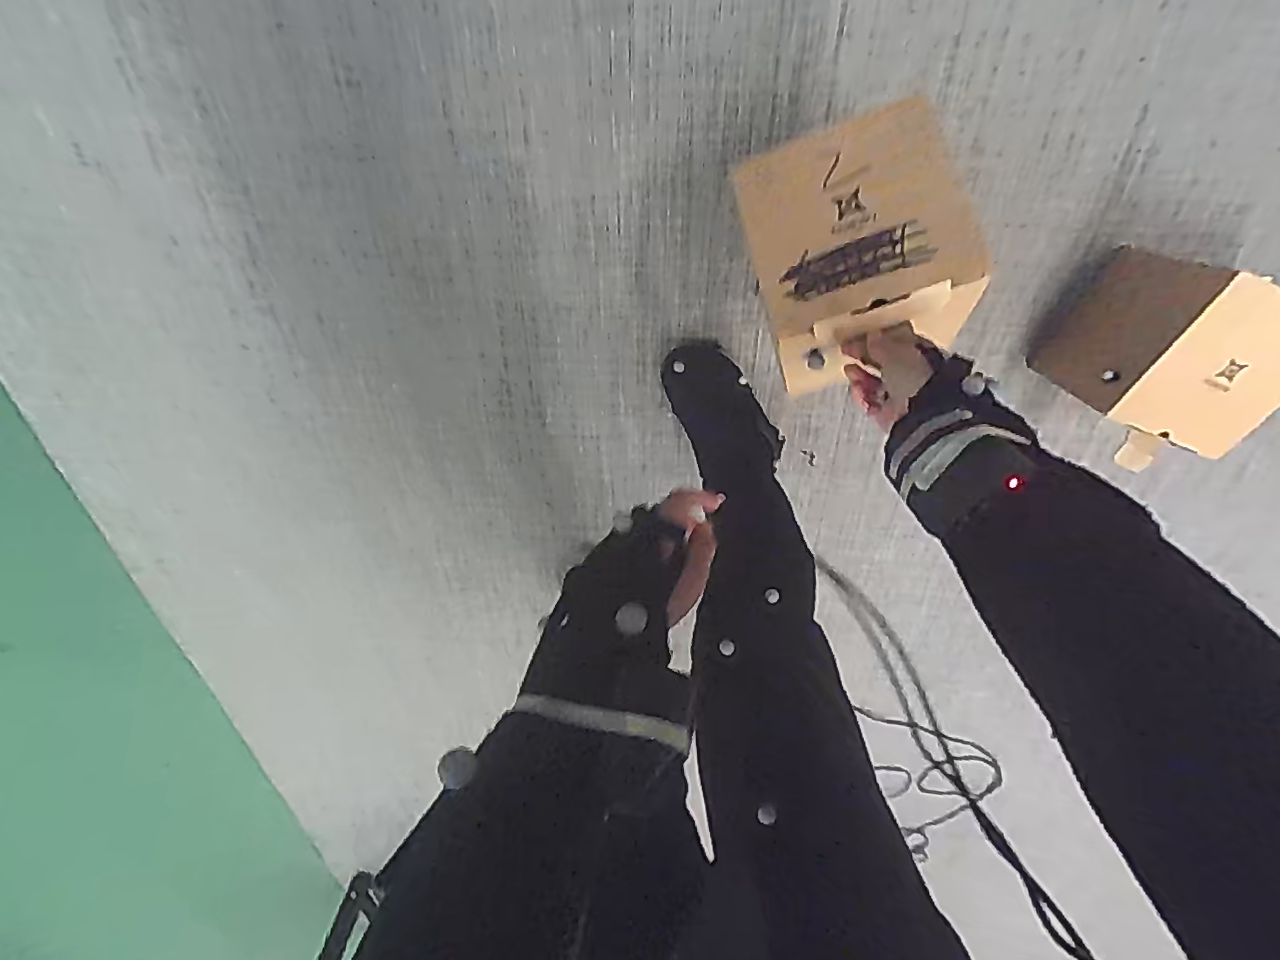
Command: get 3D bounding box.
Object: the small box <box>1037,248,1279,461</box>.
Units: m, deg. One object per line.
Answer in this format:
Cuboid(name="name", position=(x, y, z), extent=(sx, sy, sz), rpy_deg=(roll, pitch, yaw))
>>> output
Cuboid(name="small box", position=(0.641, -0.157, 0.652), extent=(0.168, 0.176, 0.179), rpy_deg=(19, 122, -8))
